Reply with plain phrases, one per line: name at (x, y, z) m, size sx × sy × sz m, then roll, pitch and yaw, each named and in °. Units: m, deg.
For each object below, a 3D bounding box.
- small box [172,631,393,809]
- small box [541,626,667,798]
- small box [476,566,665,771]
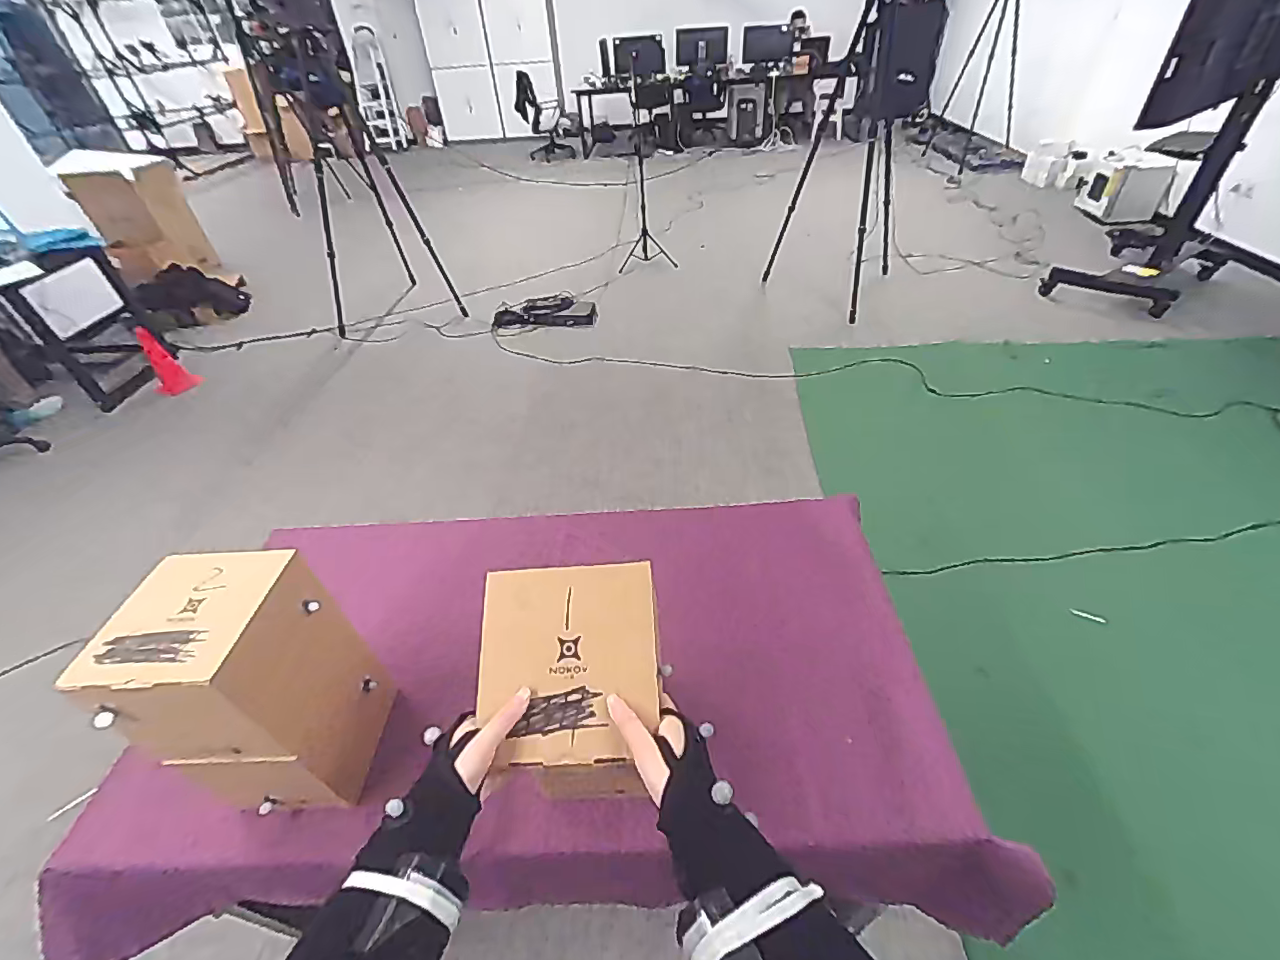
small box at (-0.470, 0.332, 0.752) m, size 0.168 × 0.176 × 0.179 m, roll -3°, pitch 42°, yaw 4°
small box at (-0.051, 0.307, 0.737) m, size 0.168 × 0.176 × 0.179 m, roll -4°, pitch 40°, yaw 3°
small box at (-0.061, 0.201, 0.576) m, size 0.168 × 0.176 × 0.179 m, roll -4°, pitch 65°, yaw 2°
